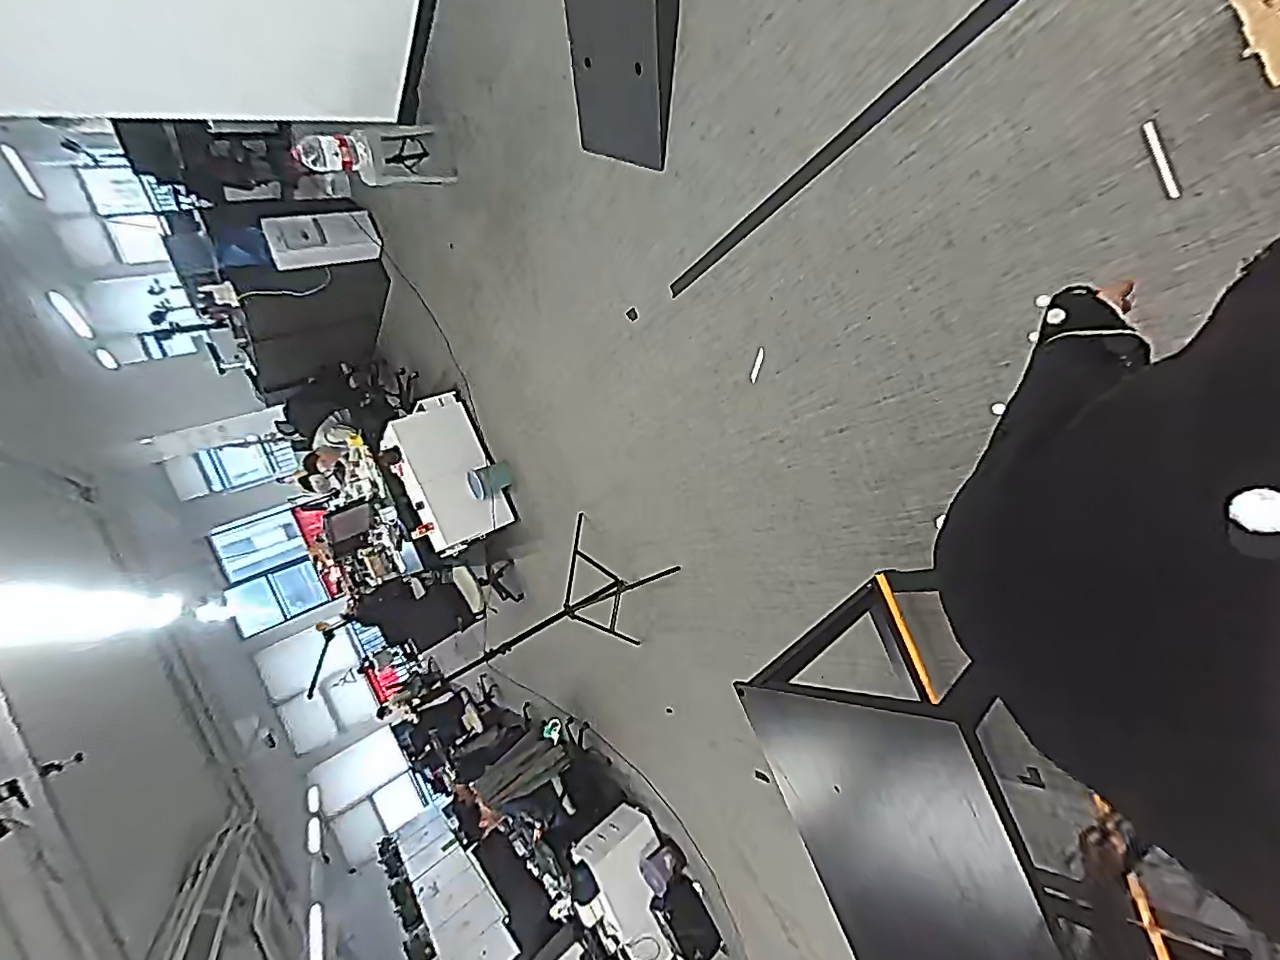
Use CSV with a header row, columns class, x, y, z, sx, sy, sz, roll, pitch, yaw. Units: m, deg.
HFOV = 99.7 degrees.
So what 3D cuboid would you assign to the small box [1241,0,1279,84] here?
class,x,y,z,sx,sy,sz,roll,pitch,yaw
small box,1.008,-0.701,0.763,0.179,0.176,0.168,-26,89,57
